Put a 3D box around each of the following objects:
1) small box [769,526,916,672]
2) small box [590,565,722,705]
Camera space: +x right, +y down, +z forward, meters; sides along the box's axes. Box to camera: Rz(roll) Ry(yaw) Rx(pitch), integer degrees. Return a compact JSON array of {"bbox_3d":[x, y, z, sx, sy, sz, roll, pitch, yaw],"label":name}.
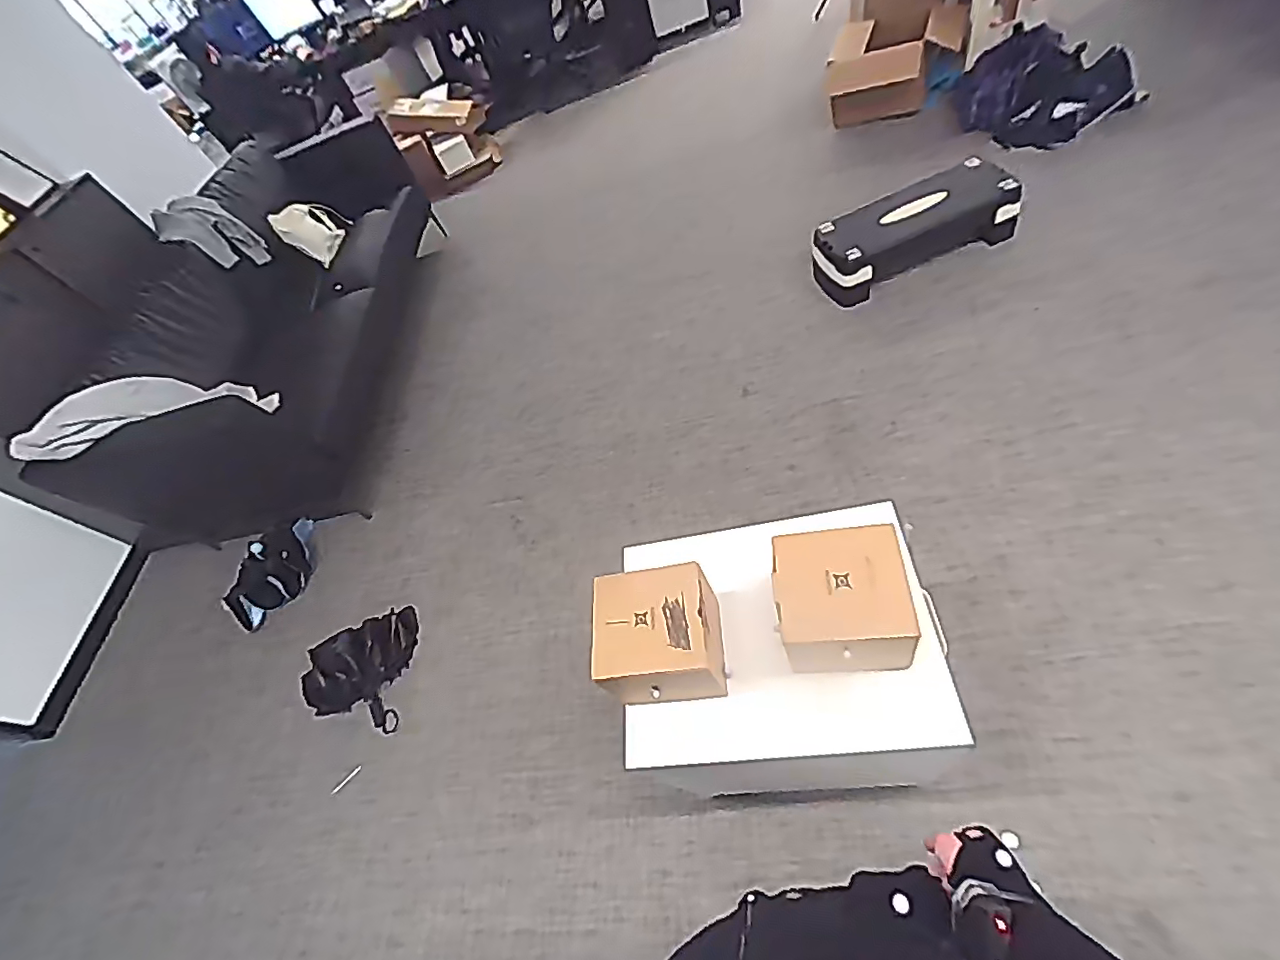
[{"bbox_3d":[0.300,0.188,0.819,0.179,0.176,0.168,-8,56,16],"label":"small box"},{"bbox_3d":[0.032,0.256,0.875,0.179,0.176,0.168,-11,53,15],"label":"small box"}]
